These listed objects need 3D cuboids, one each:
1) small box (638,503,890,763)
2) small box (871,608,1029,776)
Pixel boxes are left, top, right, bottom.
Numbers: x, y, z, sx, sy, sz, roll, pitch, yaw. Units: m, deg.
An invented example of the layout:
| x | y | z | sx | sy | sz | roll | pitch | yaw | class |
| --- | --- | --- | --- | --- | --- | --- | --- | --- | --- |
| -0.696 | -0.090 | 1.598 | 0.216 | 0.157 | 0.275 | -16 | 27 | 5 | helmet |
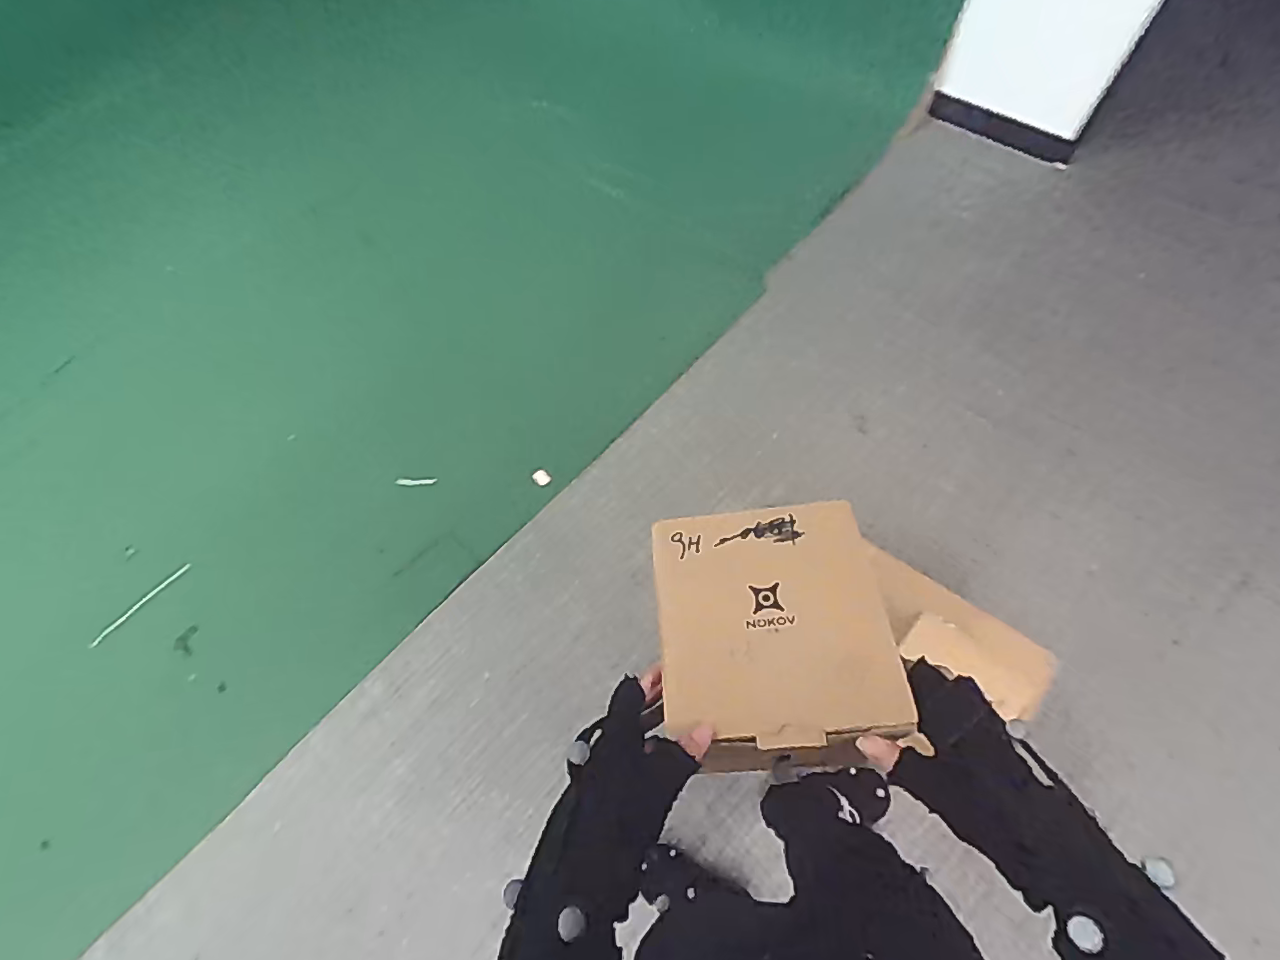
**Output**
| x | y | z | sx | sy | sz | roll | pitch | yaw | class |
| --- | --- | --- | --- | --- | --- | --- | --- | --- | --- |
| 0.095 | 0.144 | 0.477 | 0.168 | 0.176 | 0.179 | -8 | 56 | 5 | small box |
| 0.459 | 0.334 | 0.868 | 0.179 | 0.176 | 0.168 | 38 | 77 | 21 | small box |
